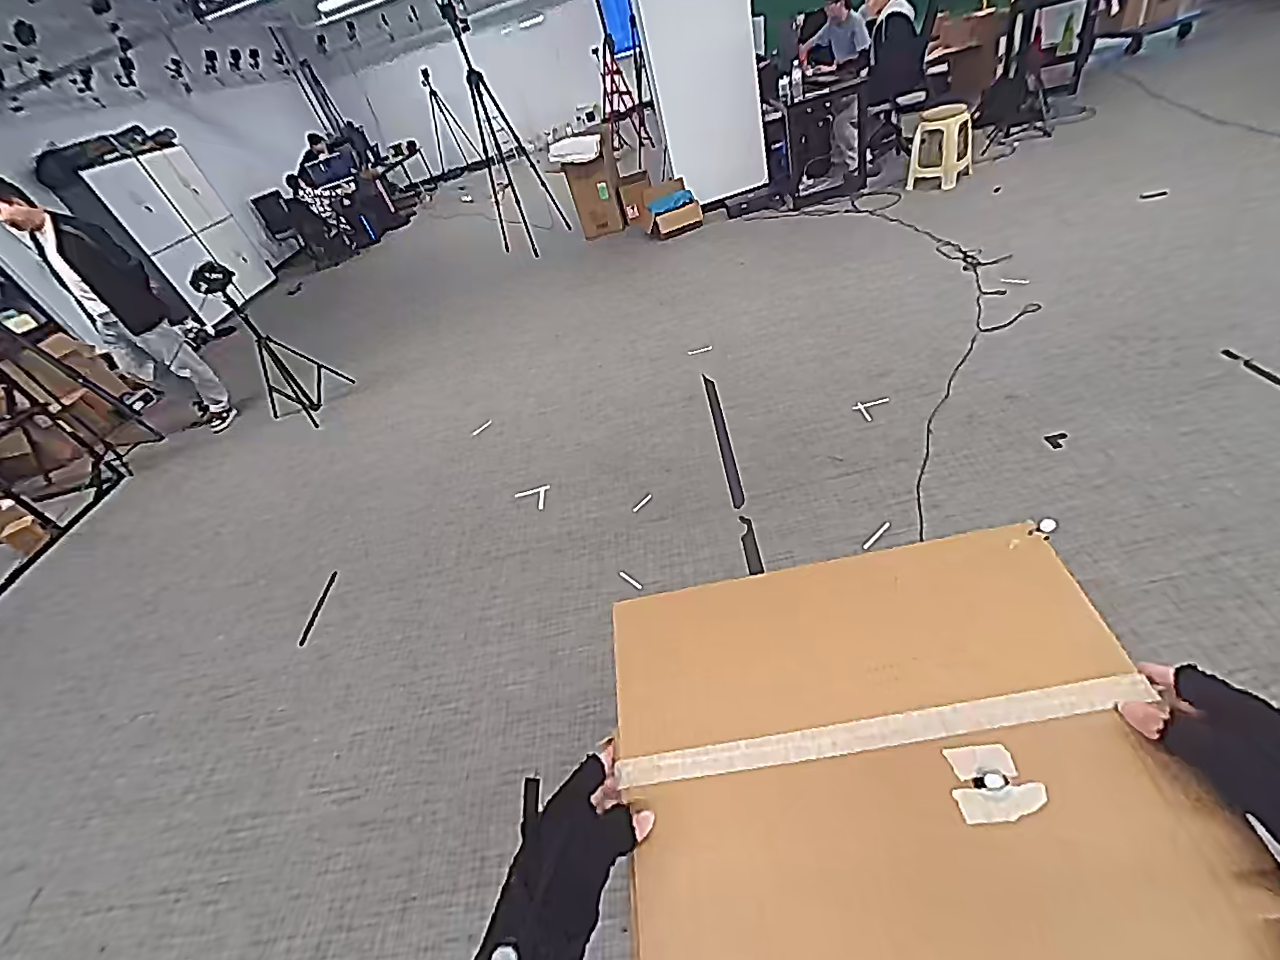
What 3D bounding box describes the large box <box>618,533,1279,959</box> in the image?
[{"bbox_3d":[0.216,0.302,0.545,0.408,0.320,0.320,-13,49,7],"label":"large box"}]
